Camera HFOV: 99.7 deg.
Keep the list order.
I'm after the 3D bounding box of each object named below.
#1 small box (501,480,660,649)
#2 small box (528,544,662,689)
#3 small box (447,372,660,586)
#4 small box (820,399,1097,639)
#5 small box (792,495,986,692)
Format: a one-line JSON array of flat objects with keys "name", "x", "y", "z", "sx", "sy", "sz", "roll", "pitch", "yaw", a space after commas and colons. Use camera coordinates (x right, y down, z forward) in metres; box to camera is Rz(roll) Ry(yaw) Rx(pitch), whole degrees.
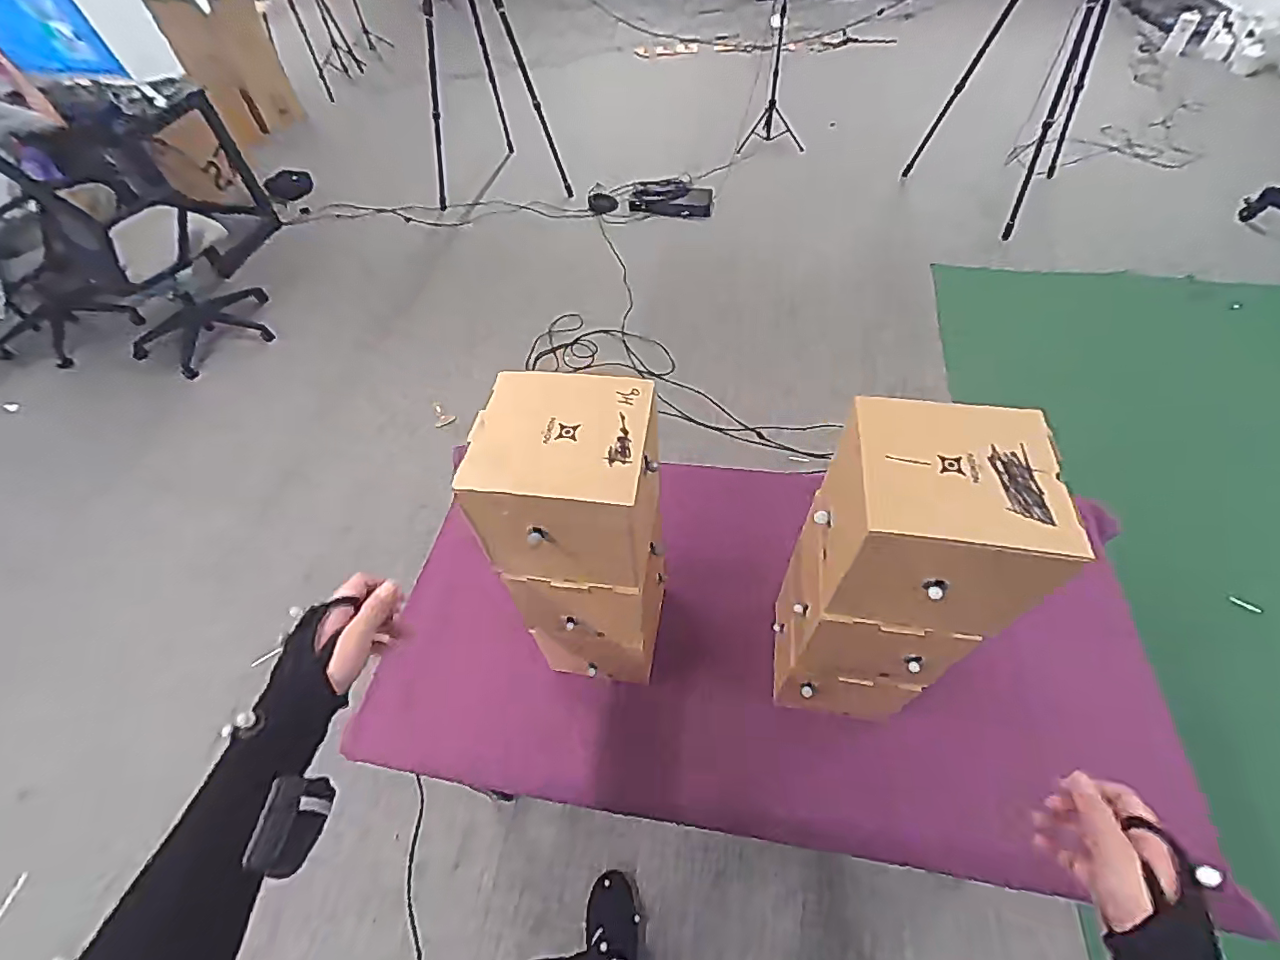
[{"name": "small box", "x": -0.066, "y": 0.103, "z": 0.720, "sx": 0.168, "sy": 0.176, "sz": 0.179, "roll": 6, "pitch": 54, "yaw": 7}, {"name": "small box", "x": -0.059, "y": 0.204, "z": 0.848, "sx": 0.168, "sy": 0.176, "sz": 0.179, "roll": 6, "pitch": 53, "yaw": 9}, {"name": "small box", "x": -0.076, "y": 0.002, "z": 0.591, "sx": 0.179, "sy": 0.176, "sz": 0.168, "roll": 5, "pitch": 54, "yaw": 7}, {"name": "small box", "x": 0.288, "y": 0.044, "z": 0.540, "sx": 0.179, "sy": 0.176, "sz": 0.168, "roll": 7, "pitch": 53, "yaw": 8}, {"name": "small box", "x": 0.288, "y": 0.144, "z": 0.669, "sx": 0.168, "sy": 0.176, "sz": 0.179, "roll": 6, "pitch": 52, "yaw": 7}]
